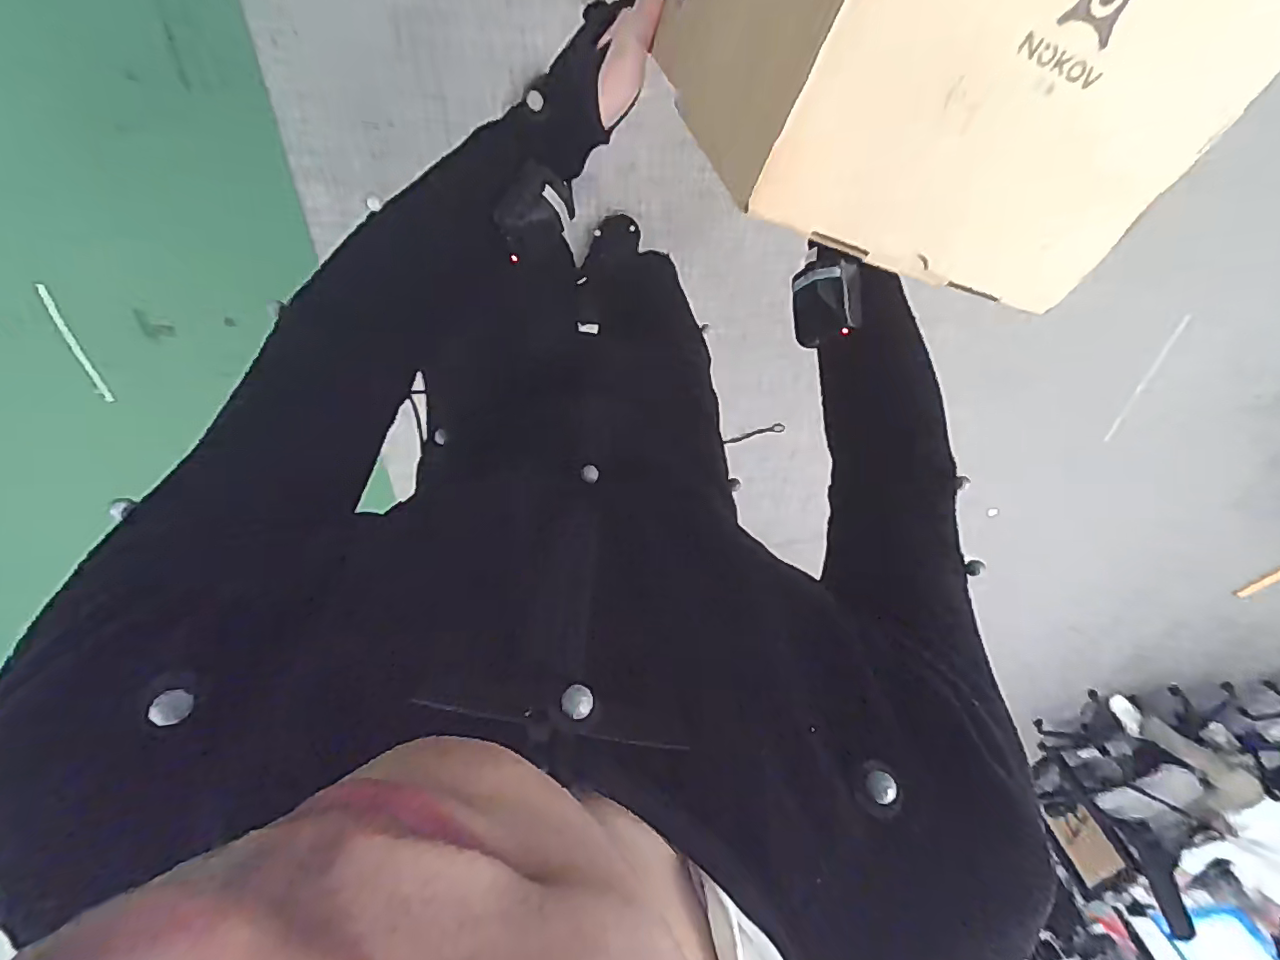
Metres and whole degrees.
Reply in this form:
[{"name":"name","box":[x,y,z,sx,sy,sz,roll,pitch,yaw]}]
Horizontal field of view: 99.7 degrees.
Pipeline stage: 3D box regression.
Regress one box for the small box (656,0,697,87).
[{"name":"small box","box":[0.116,-0.336,0.337,0.168,0.176,0.179,10,134,-18]}]

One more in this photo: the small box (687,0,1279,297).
[{"name":"small box","box":[0.129,-0.214,0.228,0.168,0.176,0.179,8,136,-18]}]
